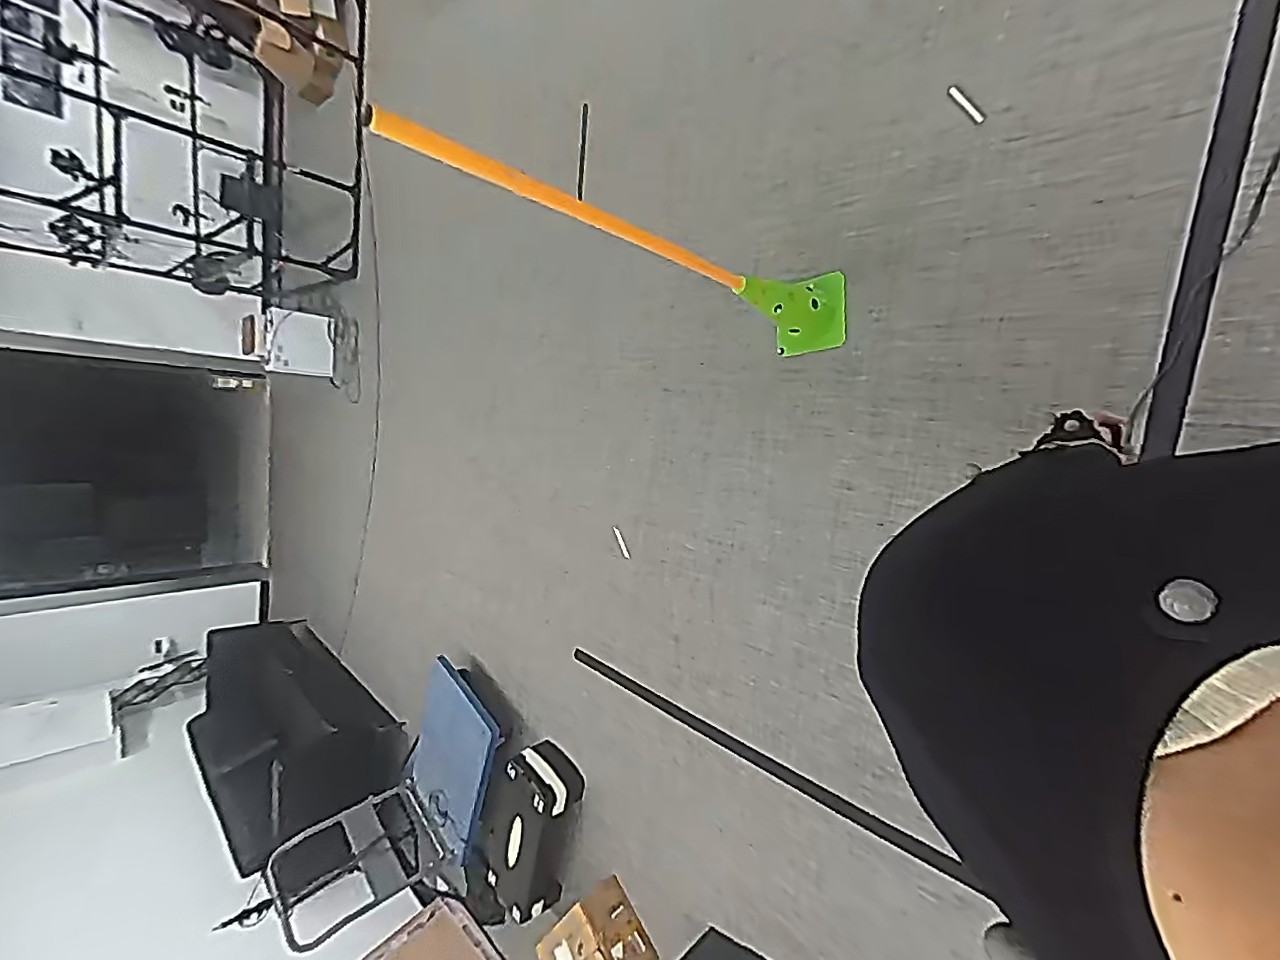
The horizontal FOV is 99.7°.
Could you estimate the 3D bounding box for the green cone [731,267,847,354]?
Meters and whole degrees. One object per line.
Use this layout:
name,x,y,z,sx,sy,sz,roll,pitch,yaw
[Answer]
green cone,0.351,-0.459,1.359,0.200,0.368,0.202,-2,88,44
